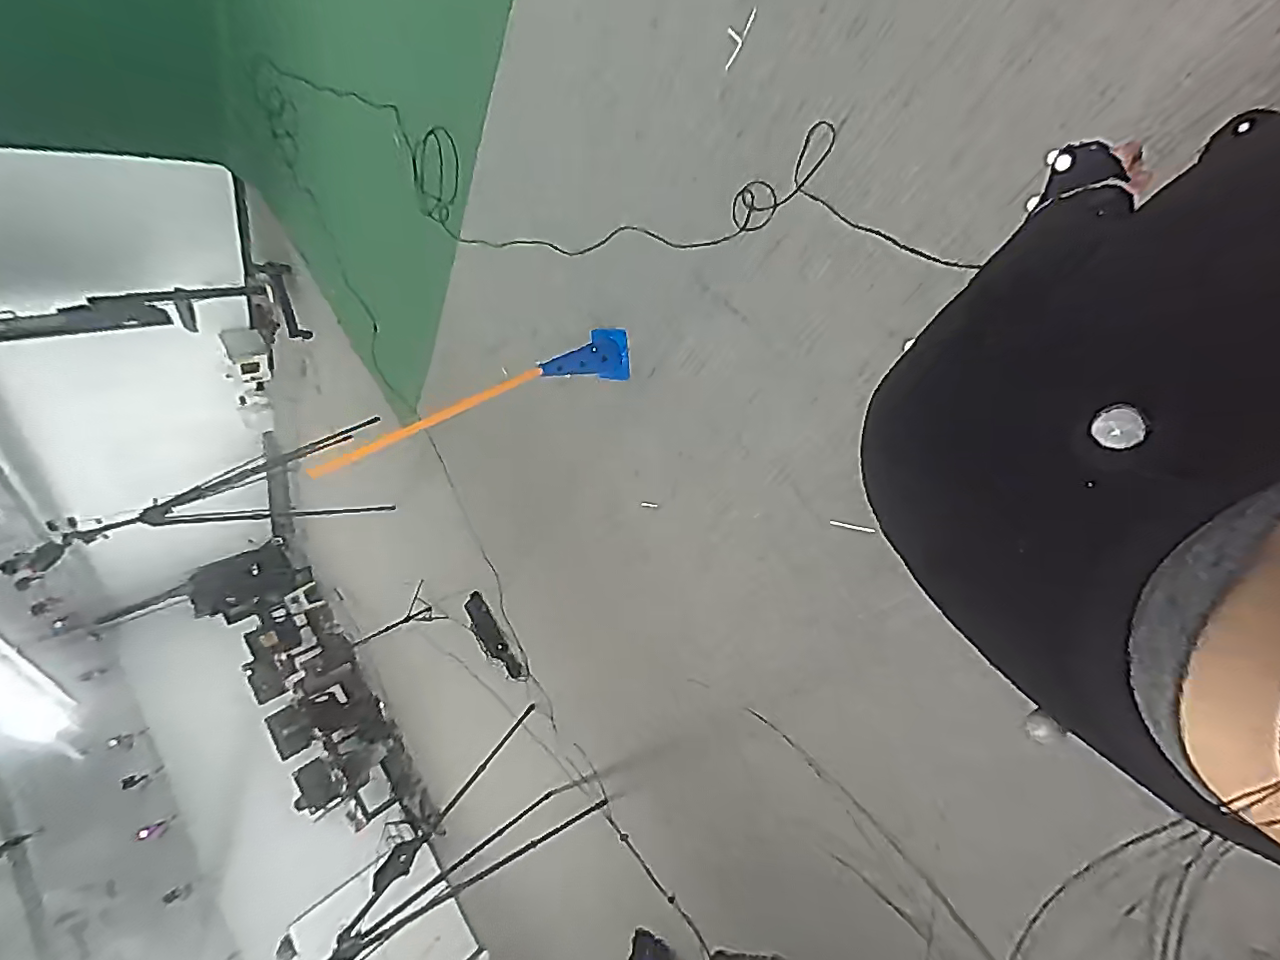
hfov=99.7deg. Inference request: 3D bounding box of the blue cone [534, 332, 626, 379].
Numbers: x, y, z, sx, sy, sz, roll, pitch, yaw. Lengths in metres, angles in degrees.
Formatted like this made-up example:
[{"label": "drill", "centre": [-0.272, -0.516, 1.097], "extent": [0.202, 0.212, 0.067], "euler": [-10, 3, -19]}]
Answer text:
[{"label": "blue cone", "centre": [-0.242, -0.445, 2.073], "extent": [0.192, 0.380, 0.193], "euler": [14, 119, 41]}]
